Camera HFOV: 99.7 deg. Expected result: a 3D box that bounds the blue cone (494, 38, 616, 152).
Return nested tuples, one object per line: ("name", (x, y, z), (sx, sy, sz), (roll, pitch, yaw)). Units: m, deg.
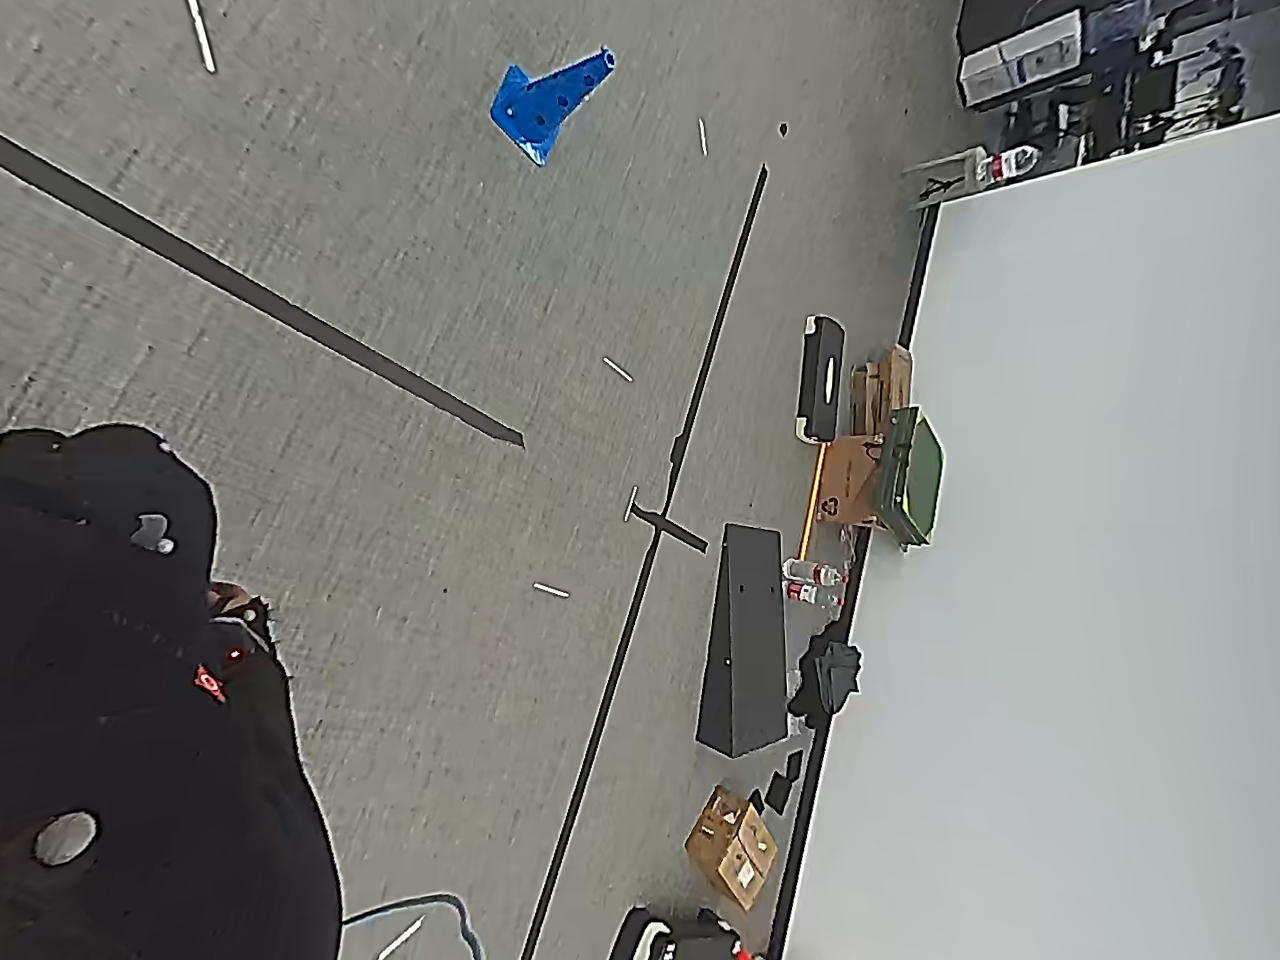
("blue cone", (-0.211, -1.080, 1.467), (0.193, 0.380, 0.192), (32, 69, -43))
